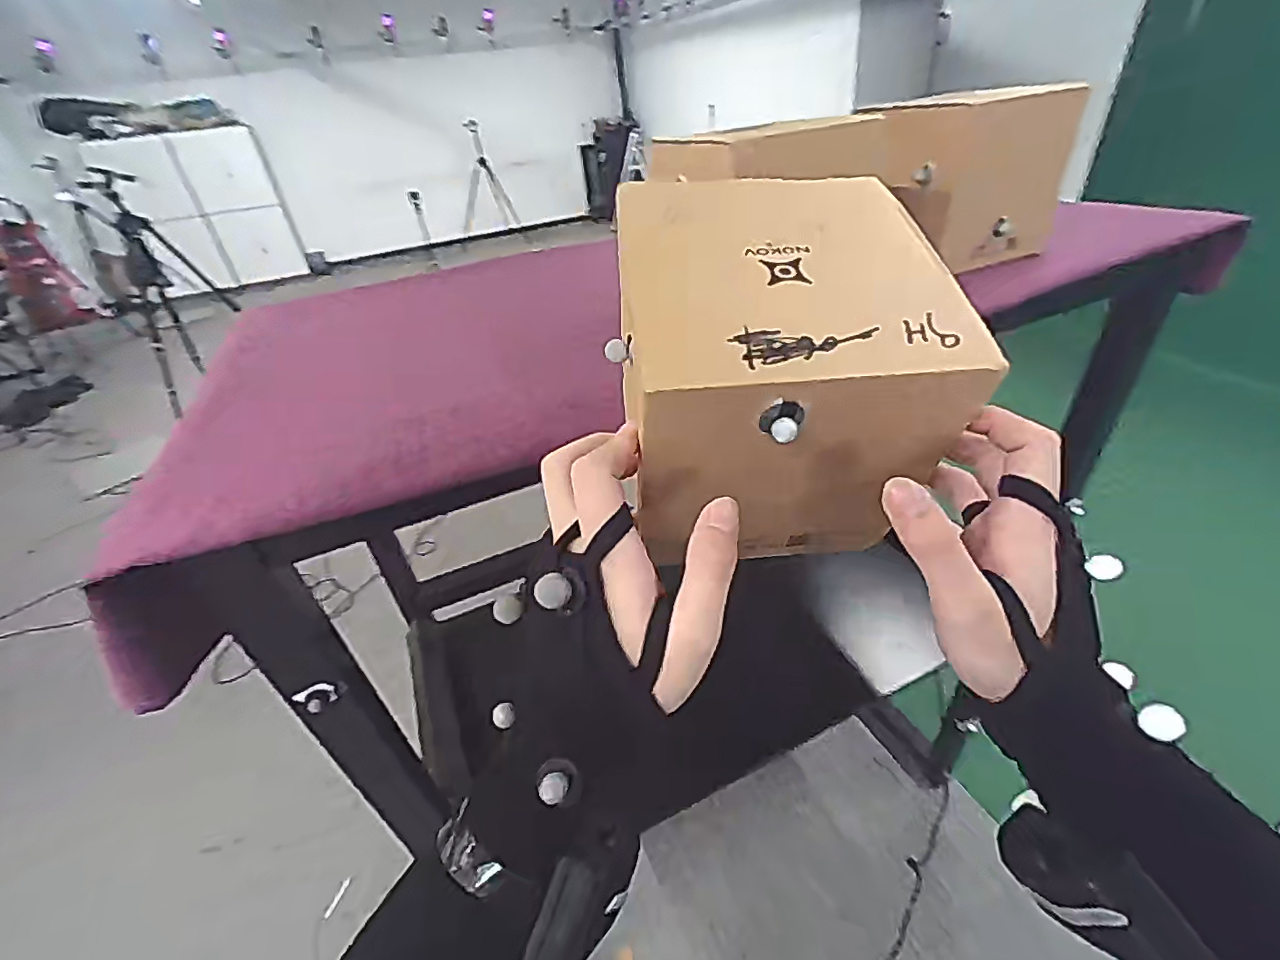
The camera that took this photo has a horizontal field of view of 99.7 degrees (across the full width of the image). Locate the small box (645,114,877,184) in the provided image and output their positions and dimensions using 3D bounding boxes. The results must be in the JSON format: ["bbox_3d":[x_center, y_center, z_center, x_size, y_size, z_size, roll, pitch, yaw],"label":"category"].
[{"bbox_3d":[0.117,-0.280,0.579,0.168,0.176,0.179,-19,36,-16],"label":"small box"}]

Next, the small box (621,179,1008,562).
[{"bbox_3d":[0.073,-0.066,0.346,0.168,0.176,0.179,-3,54,-3],"label":"small box"}]
